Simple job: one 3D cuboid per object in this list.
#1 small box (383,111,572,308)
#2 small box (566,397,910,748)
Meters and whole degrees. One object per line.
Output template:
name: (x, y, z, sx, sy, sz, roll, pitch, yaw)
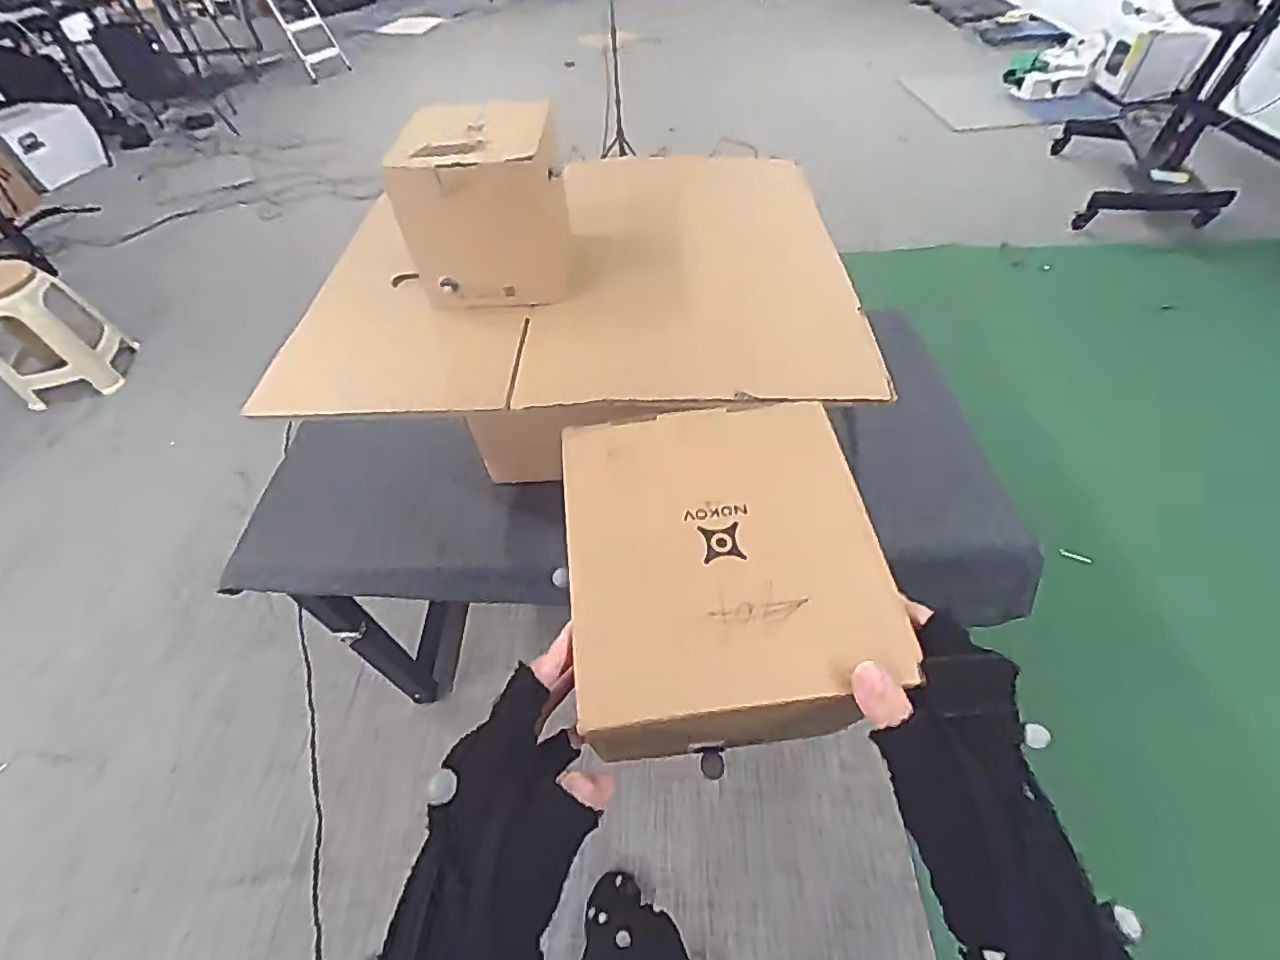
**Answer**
small box: (-0.183, -0.329, 0.674, 0.168, 0.176, 0.179, -2, 51, 3)
small box: (0.042, 0.069, 0.367, 0.168, 0.176, 0.179, -6, 58, -2)
